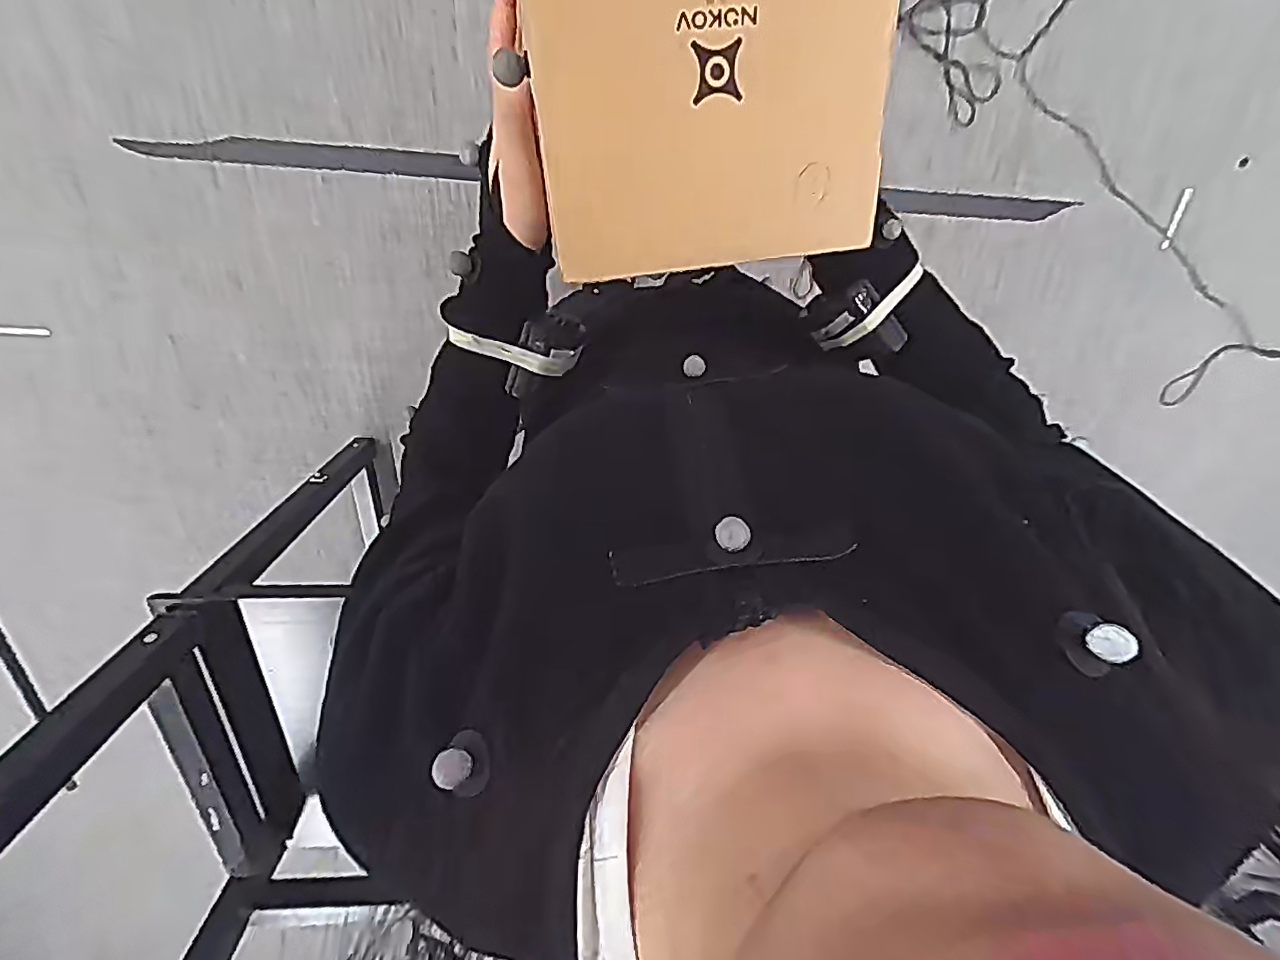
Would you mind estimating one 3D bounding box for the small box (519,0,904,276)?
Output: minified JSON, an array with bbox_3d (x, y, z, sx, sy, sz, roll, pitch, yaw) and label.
[{"bbox_3d":[0.023,-0.227,0.300,0.168,0.176,0.179,-10,120,-4],"label":"small box"}]
